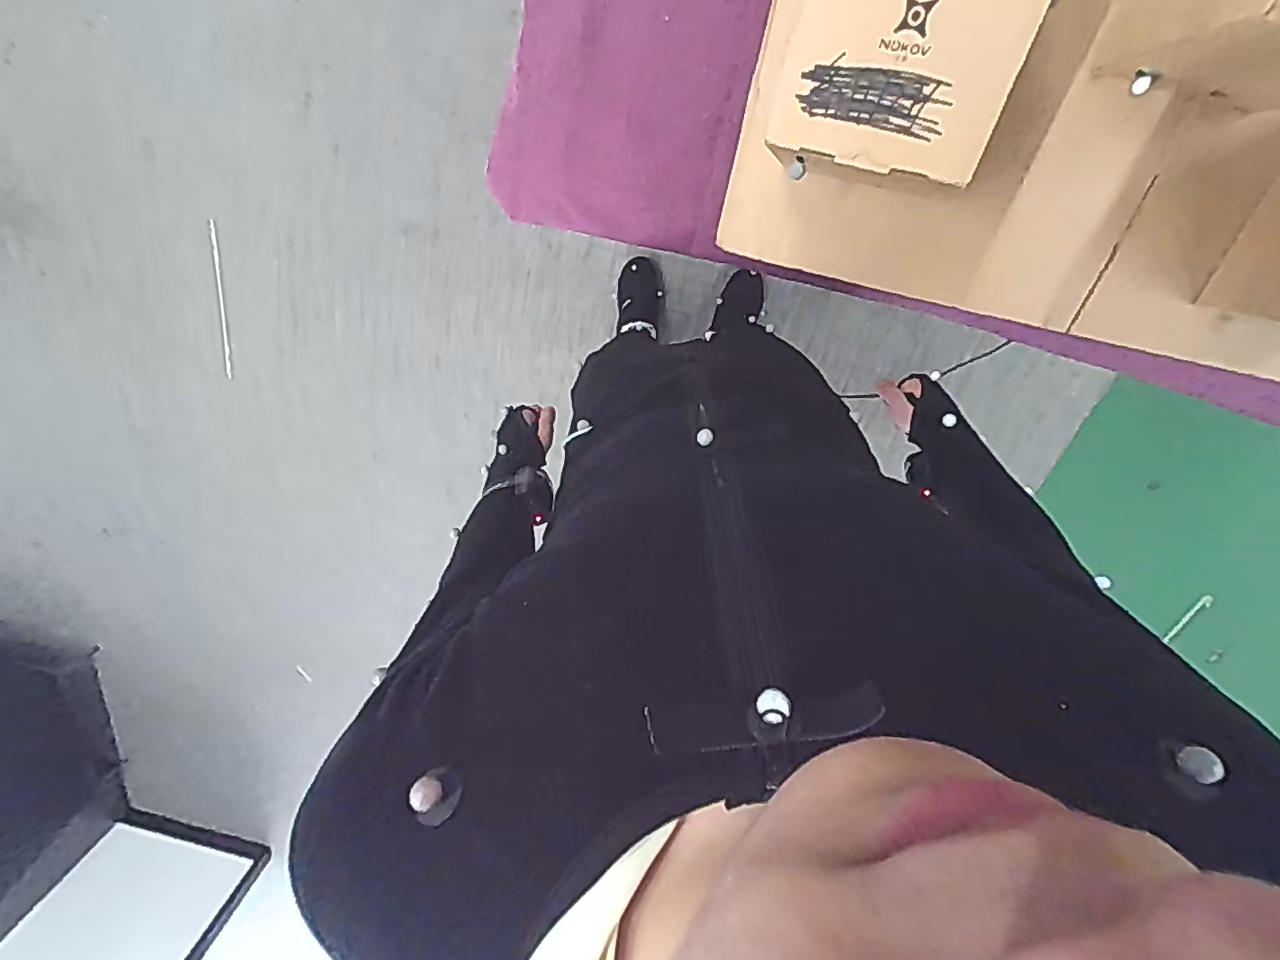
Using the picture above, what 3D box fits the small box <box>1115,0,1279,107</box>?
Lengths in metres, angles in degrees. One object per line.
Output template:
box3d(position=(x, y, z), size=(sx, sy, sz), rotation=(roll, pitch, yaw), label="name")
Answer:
box3d(position=(0.494, -0.384, 0.372), size=(0.168, 0.176, 0.179), rotation=(11, 116, -3), label="small box")

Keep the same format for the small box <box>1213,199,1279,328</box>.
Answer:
box3d(position=(0.669, -0.201, 0.452), size=(0.168, 0.176, 0.179), rotation=(13, 117, -2), label="small box")
